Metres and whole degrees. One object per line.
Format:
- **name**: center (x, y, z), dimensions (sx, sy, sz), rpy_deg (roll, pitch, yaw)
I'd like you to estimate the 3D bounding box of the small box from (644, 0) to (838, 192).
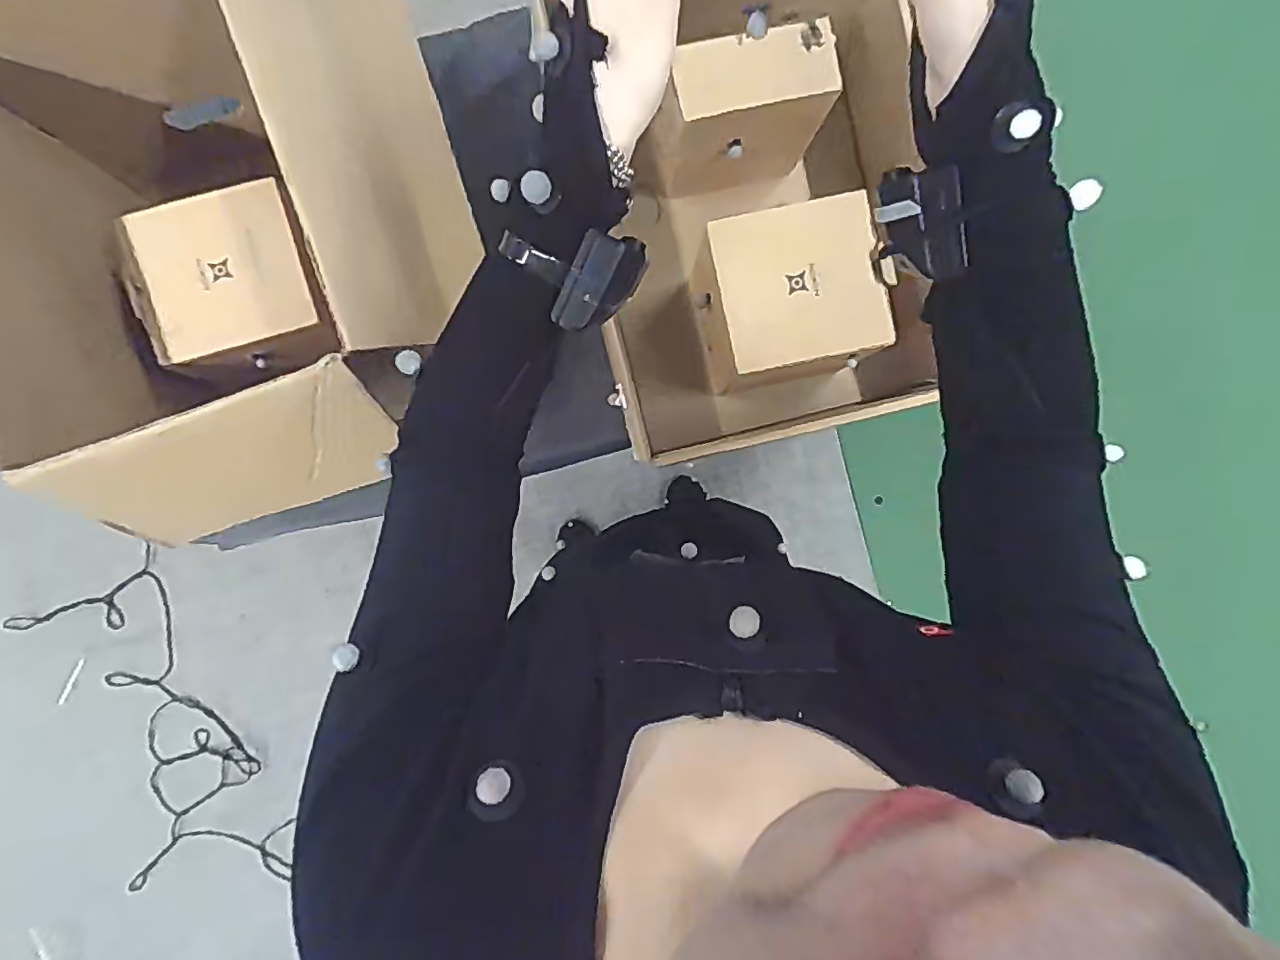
- **small box**: center (0.105, -0.470, 0.637), dimensions (0.179, 0.176, 0.168), rpy_deg (-13, 94, 1)
